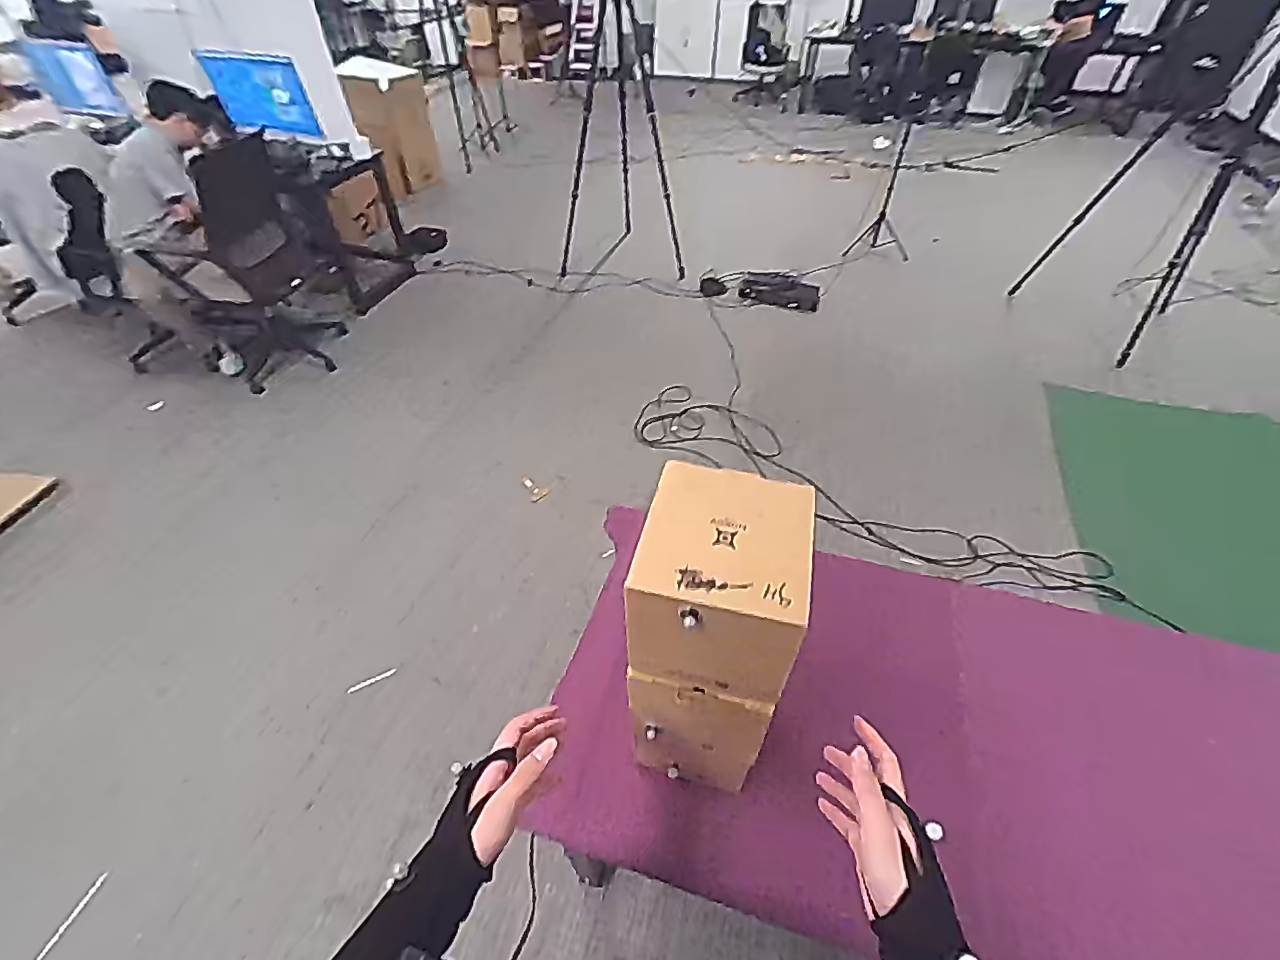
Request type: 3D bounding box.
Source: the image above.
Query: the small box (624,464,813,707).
[{"bbox_3d":[0.084,0.112,0.588,0.168,0.176,0.179,10,45,12],"label":"small box"}]

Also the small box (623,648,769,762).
[{"bbox_3d":[0.084,0.233,0.698,0.168,0.176,0.179,11,45,12],"label":"small box"}]

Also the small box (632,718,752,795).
[{"bbox_3d":[0.088,0.342,0.820,0.168,0.176,0.179,11,47,12],"label":"small box"}]
